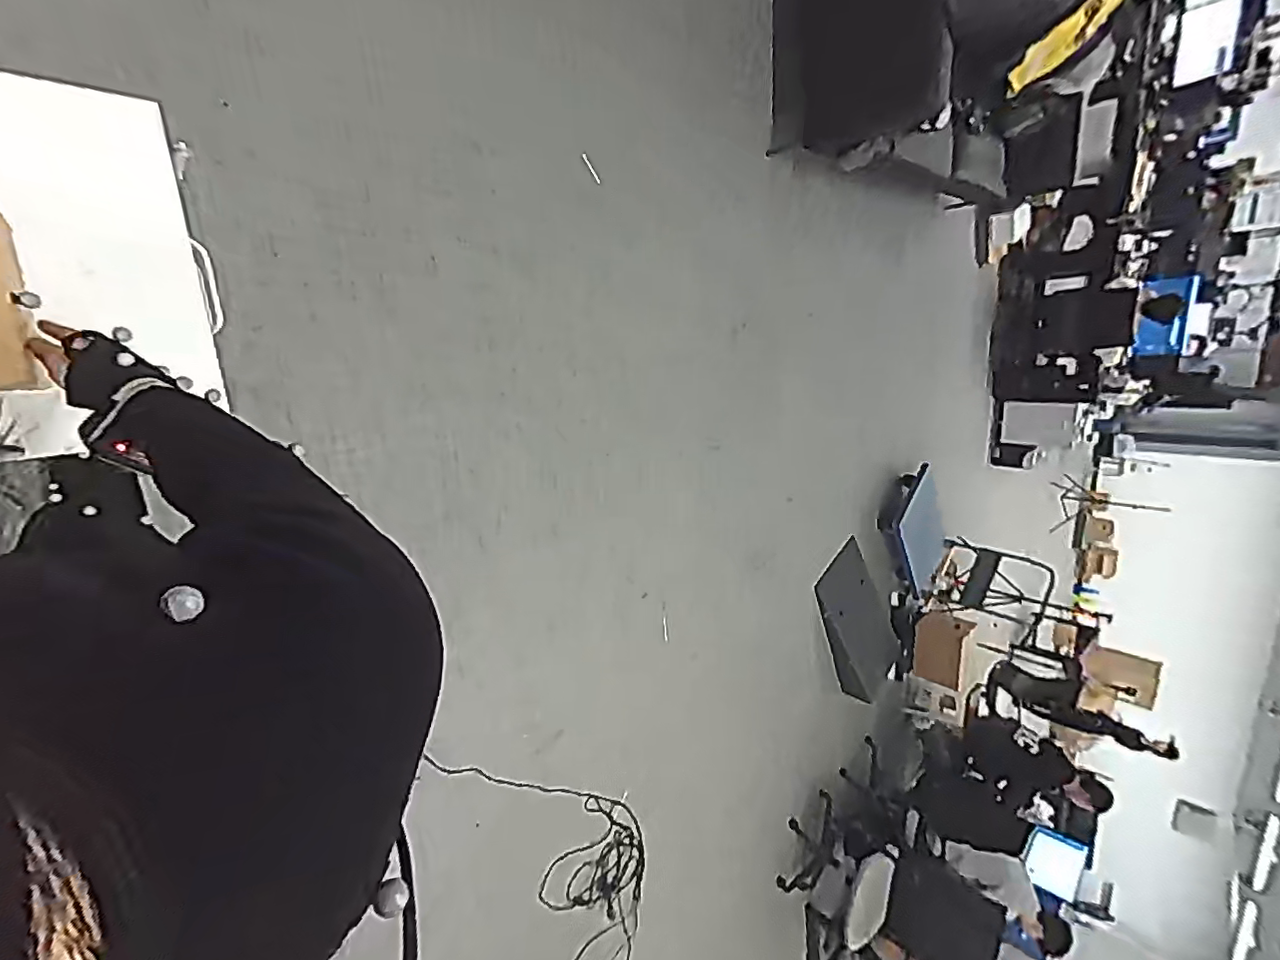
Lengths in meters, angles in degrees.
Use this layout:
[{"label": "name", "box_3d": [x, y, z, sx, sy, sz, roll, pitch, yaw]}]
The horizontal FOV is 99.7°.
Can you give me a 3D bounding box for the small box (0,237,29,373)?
[{"label": "small box", "box_3d": [-0.667, -0.181, 0.461, 0.168, 0.176, 0.179, -13, 107, -42]}]
